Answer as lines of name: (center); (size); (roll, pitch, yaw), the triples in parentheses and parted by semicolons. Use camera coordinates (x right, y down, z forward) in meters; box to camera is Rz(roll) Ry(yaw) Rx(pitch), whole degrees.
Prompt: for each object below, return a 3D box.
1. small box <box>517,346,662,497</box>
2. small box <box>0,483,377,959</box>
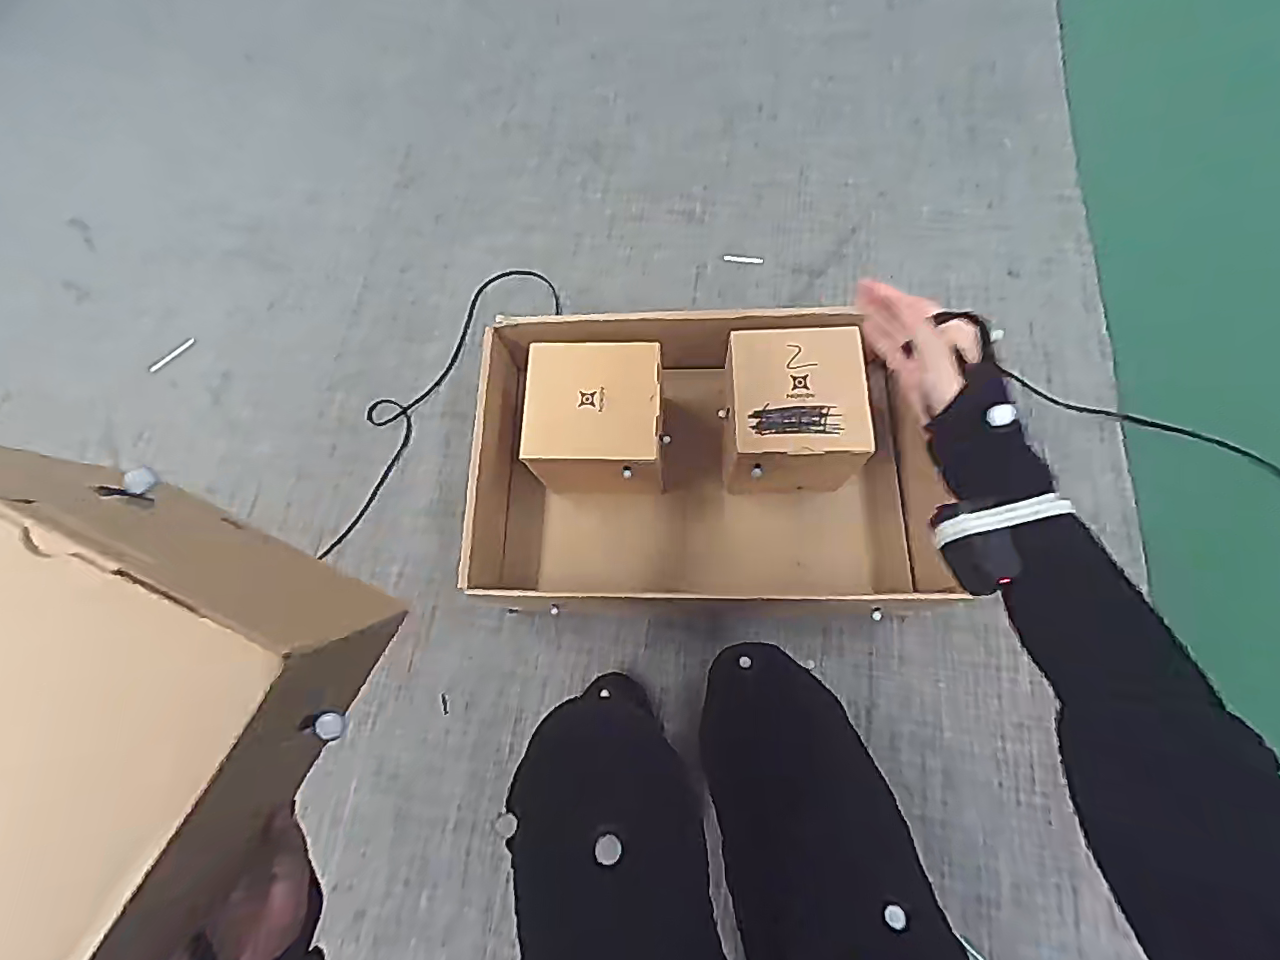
small box: (-0.060, -0.075, 0.771); (0.179, 0.176, 0.168); (0, 73, 4)
small box: (-0.244, 0.109, 0.234); (0.168, 0.176, 0.179); (30, 79, -4)
